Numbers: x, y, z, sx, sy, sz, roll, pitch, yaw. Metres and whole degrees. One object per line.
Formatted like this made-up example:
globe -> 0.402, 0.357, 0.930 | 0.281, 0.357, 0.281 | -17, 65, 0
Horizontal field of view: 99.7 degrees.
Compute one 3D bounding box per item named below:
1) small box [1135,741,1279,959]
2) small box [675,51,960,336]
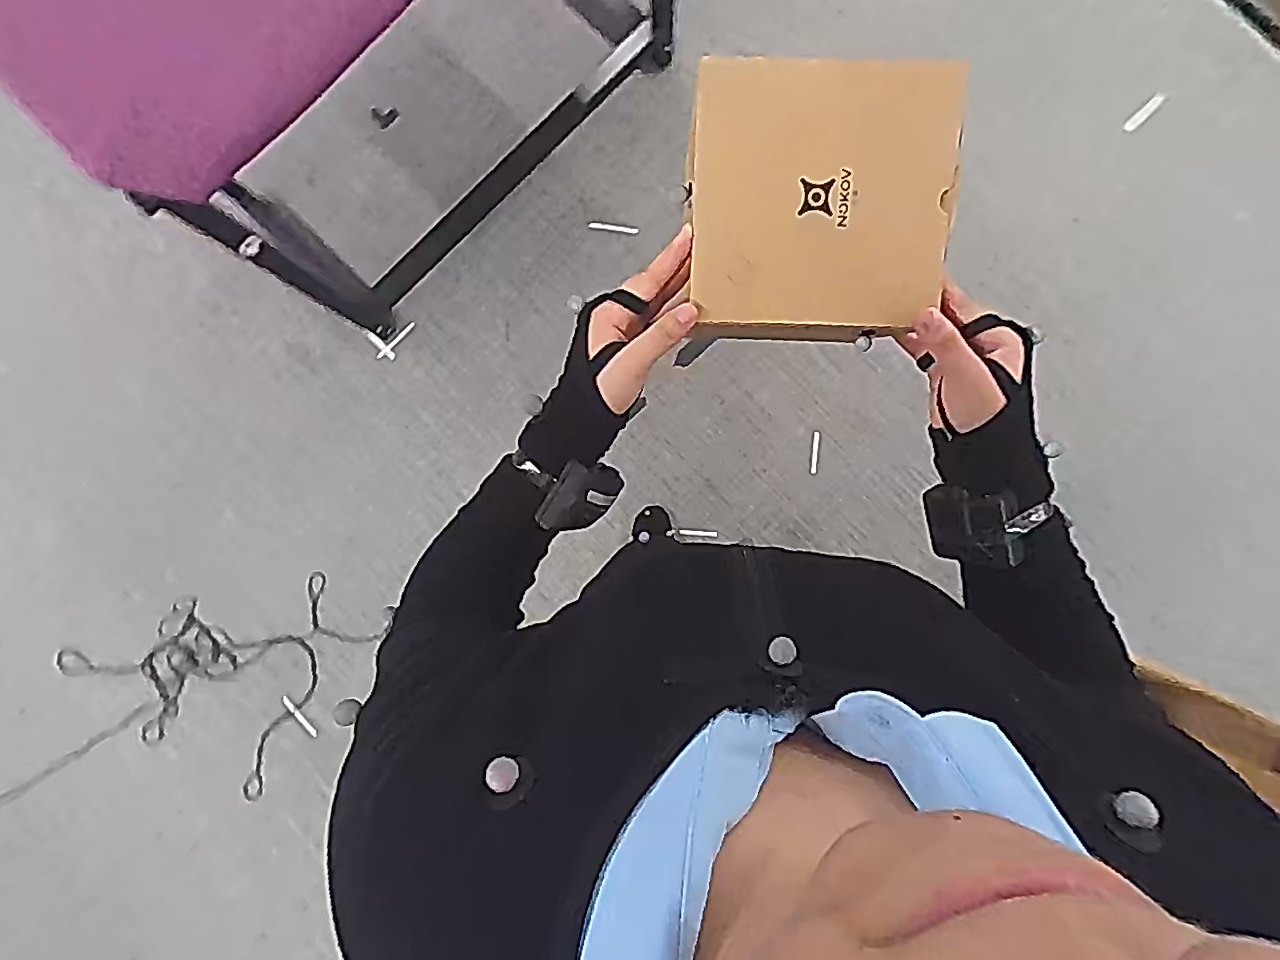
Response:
small box -> 0.694, 0.422, 0.573 | 0.168, 0.176, 0.179 | 29, 87, 3
small box -> 0.119, -0.207, 0.439 | 0.179, 0.176, 0.168 | 1, 101, 1
